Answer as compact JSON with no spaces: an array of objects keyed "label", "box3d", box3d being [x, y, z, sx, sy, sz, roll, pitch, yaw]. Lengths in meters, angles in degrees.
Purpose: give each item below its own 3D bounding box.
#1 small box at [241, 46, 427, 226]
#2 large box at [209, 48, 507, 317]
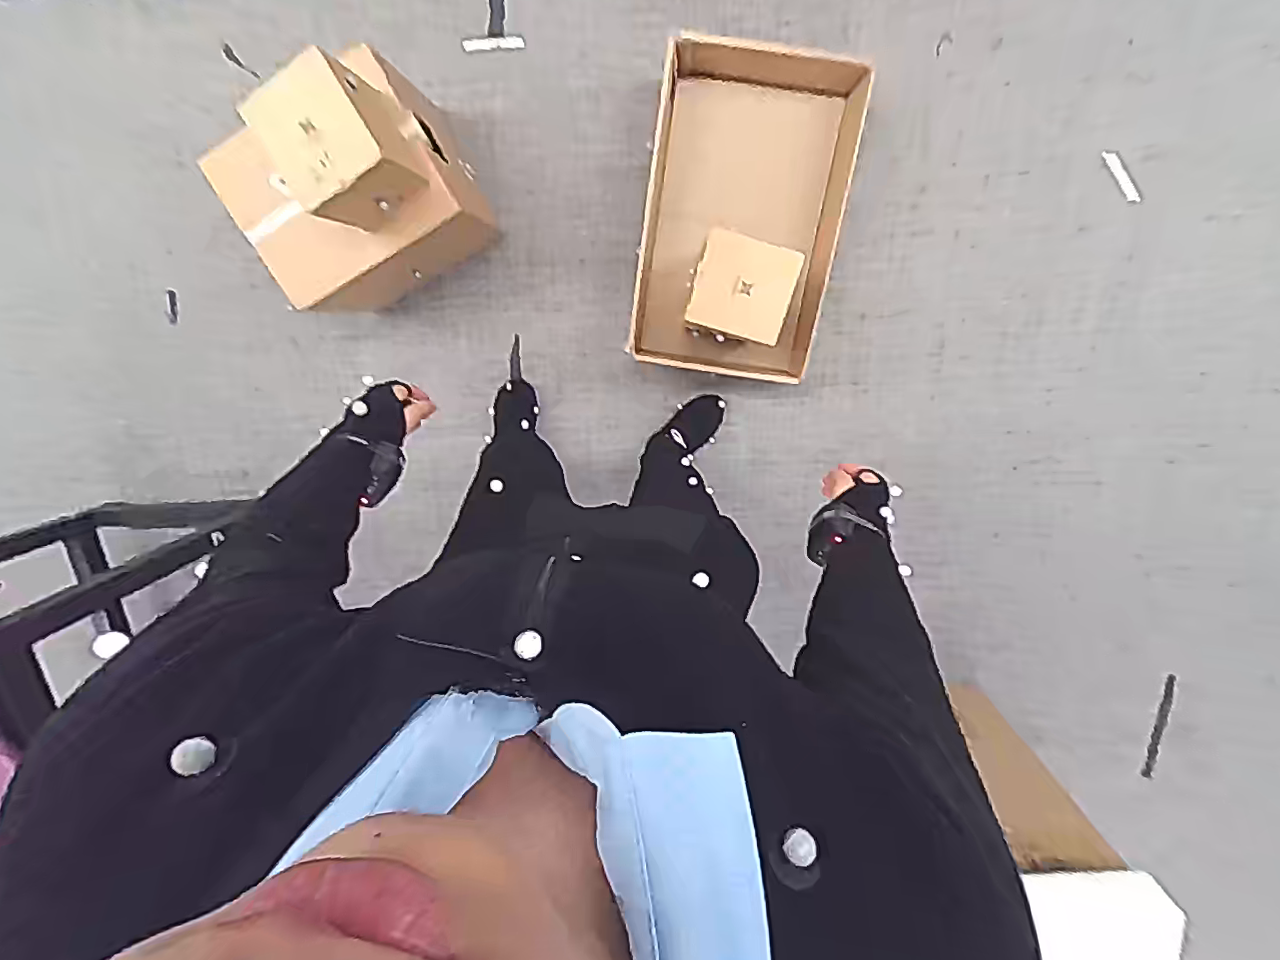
[{"label":"small box","box3d":[-0.501,-0.560,0.912,0.168,0.176,0.179,-27,103,12]},{"label":"large box","box3d":[-0.568,-0.590,1.164,0.408,0.320,0.320,-27,102,11]}]
